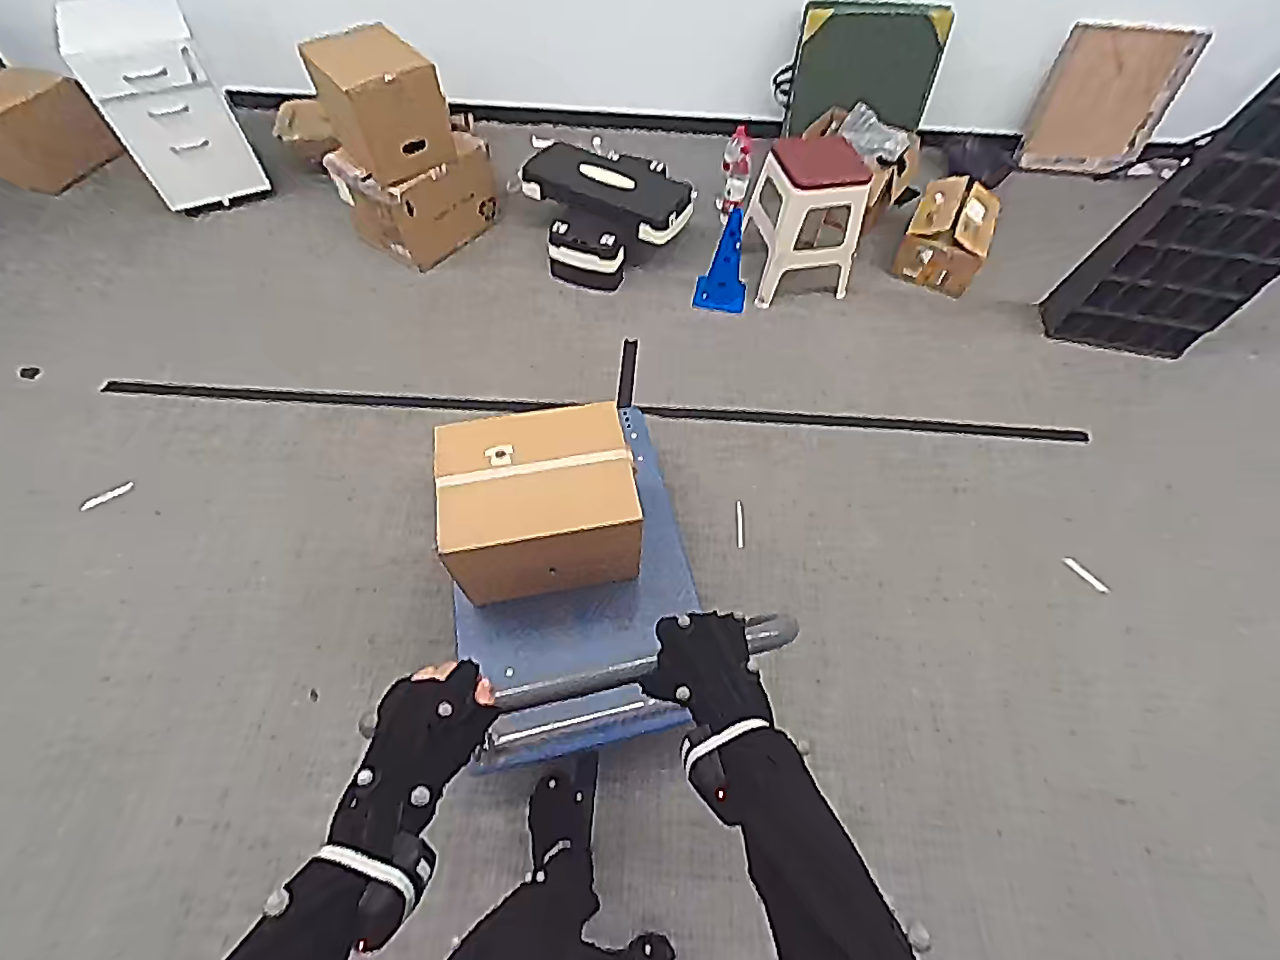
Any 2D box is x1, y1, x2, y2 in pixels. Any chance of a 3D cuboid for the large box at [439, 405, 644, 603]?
[{"bbox_3d":[-0.219,0.064,1.268,0.408,0.320,0.320,-9,59,-7],"label":"large box"}]
